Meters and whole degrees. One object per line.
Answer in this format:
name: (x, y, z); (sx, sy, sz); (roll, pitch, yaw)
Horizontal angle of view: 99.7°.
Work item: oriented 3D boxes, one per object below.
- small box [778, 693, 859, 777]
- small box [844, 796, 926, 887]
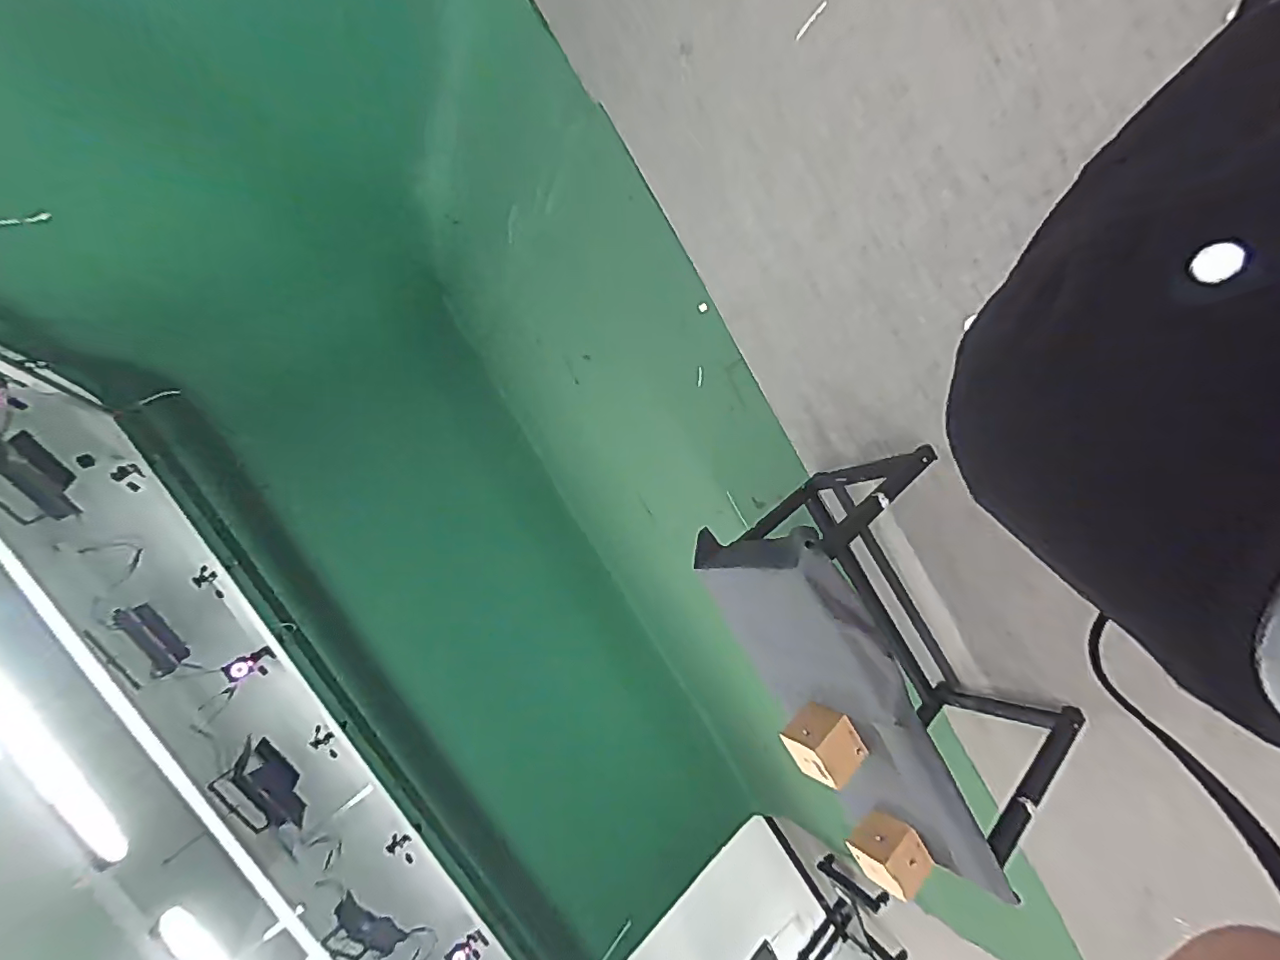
small box: (0.609, 0.849, 1.824); (0.168, 0.176, 0.179); (58, 156, -8)
small box: (0.861, 1.246, 1.882); (0.168, 0.176, 0.179); (59, 154, -6)
